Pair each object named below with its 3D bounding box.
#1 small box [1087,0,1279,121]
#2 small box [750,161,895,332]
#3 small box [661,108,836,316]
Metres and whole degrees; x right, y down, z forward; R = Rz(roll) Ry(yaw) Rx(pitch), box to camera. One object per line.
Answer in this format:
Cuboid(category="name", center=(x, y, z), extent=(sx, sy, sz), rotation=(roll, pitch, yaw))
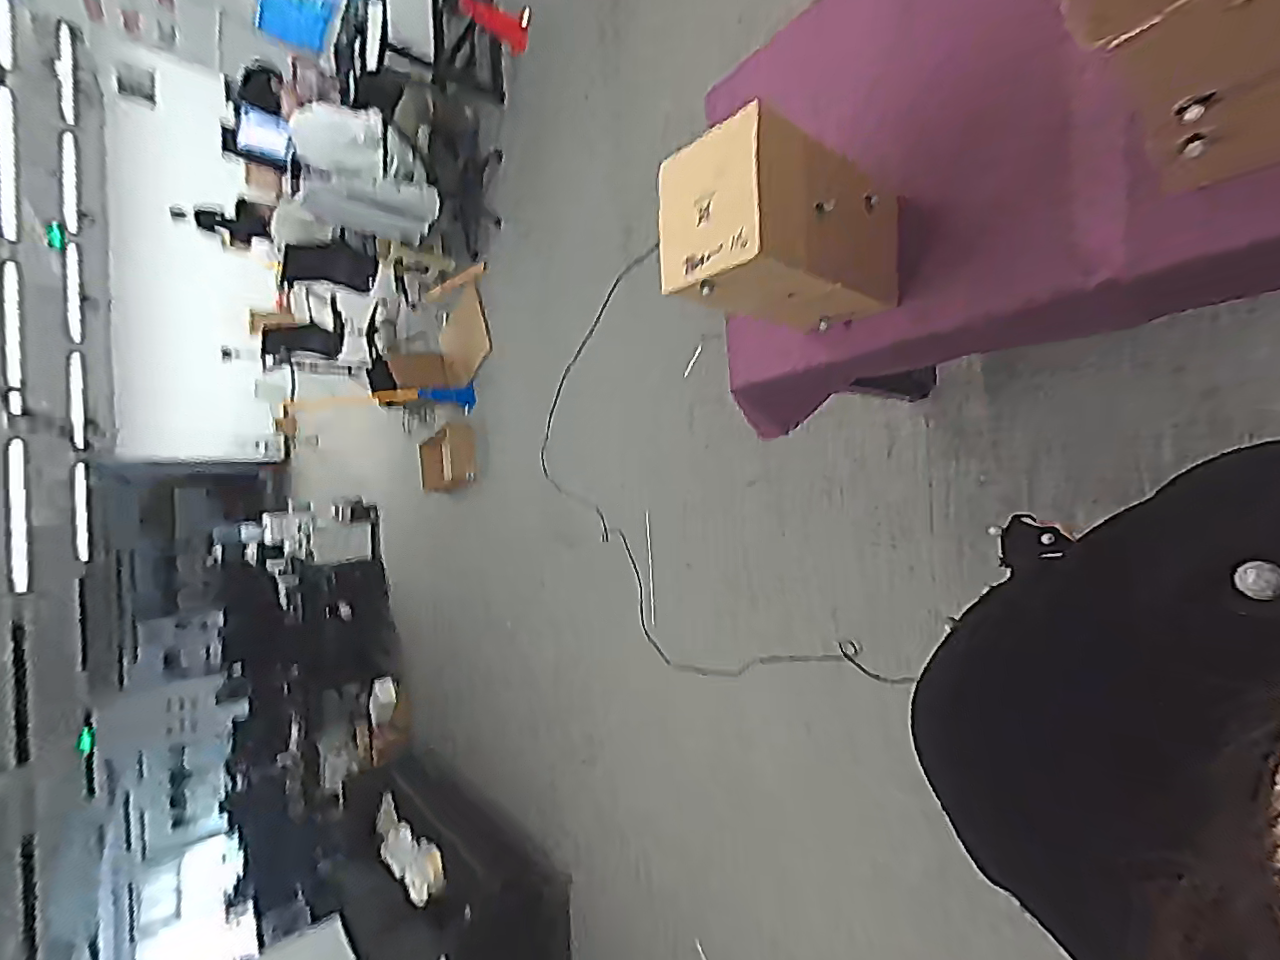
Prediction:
Cuboid(category="small box", center=(0.431, -0.395, 0.381), extent=(0.168, 0.176, 0.179), rotation=(-9, 83, 50))
Cuboid(category="small box", center=(0.273, -0.341, 0.830), extent=(0.168, 0.176, 0.179), rotation=(0, 92, 51))
Cuboid(category="small box", center=(0.146, -0.338, 0.725), extent=(0.168, 0.176, 0.179), rotation=(-1, 90, 52))
